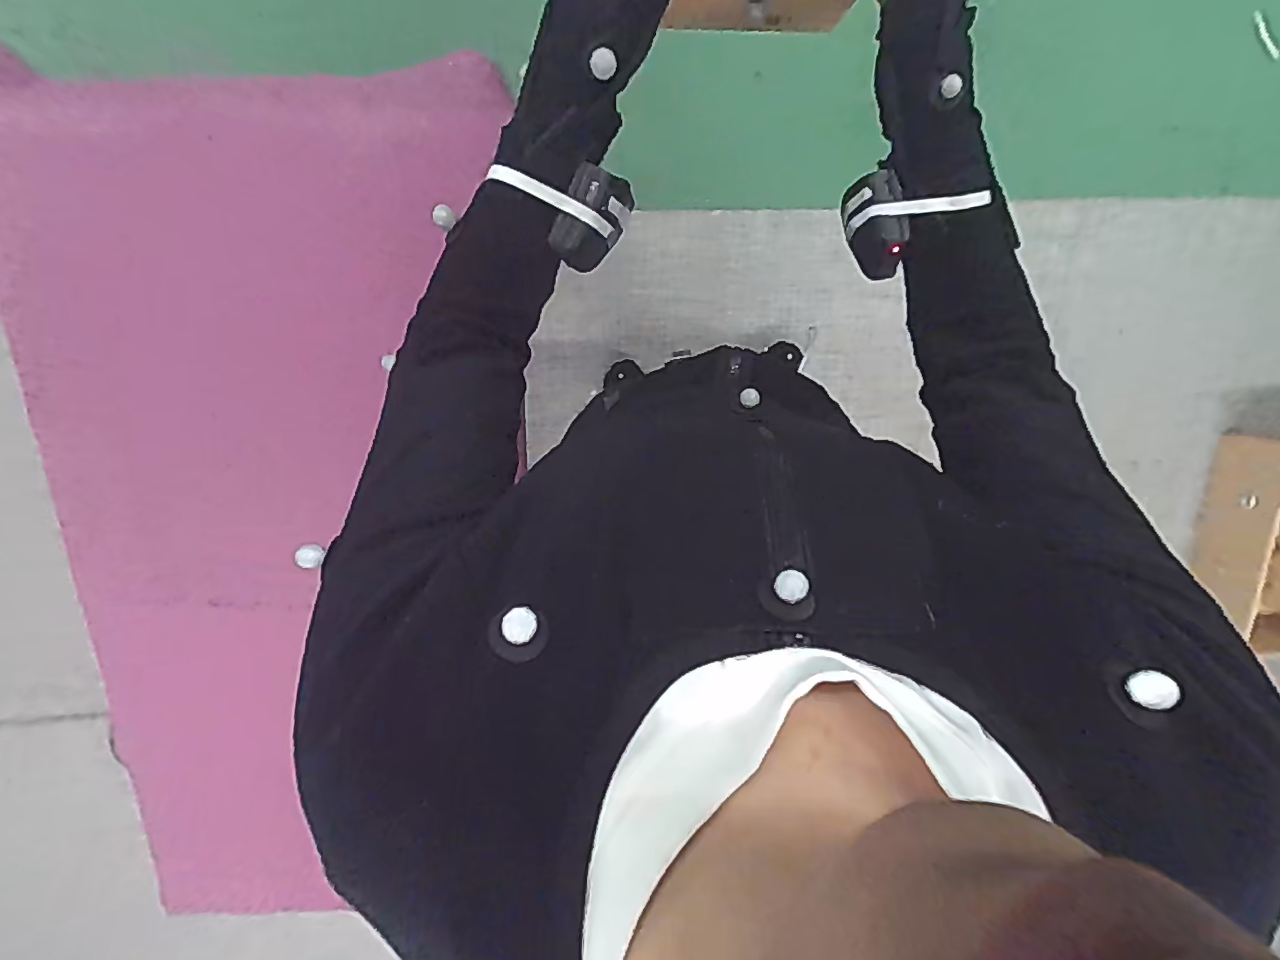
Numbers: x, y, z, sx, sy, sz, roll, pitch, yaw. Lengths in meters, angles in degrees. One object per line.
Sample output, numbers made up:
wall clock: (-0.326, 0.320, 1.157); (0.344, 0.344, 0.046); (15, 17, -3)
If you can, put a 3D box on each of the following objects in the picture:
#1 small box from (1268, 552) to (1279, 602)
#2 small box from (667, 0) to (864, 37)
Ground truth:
small box: (1.905, 0.277, 1.483); (0.179, 0.176, 0.168); (-8, 103, 0)
small box: (0.107, -0.463, 0.384); (0.168, 0.176, 0.179); (0, 109, -3)
